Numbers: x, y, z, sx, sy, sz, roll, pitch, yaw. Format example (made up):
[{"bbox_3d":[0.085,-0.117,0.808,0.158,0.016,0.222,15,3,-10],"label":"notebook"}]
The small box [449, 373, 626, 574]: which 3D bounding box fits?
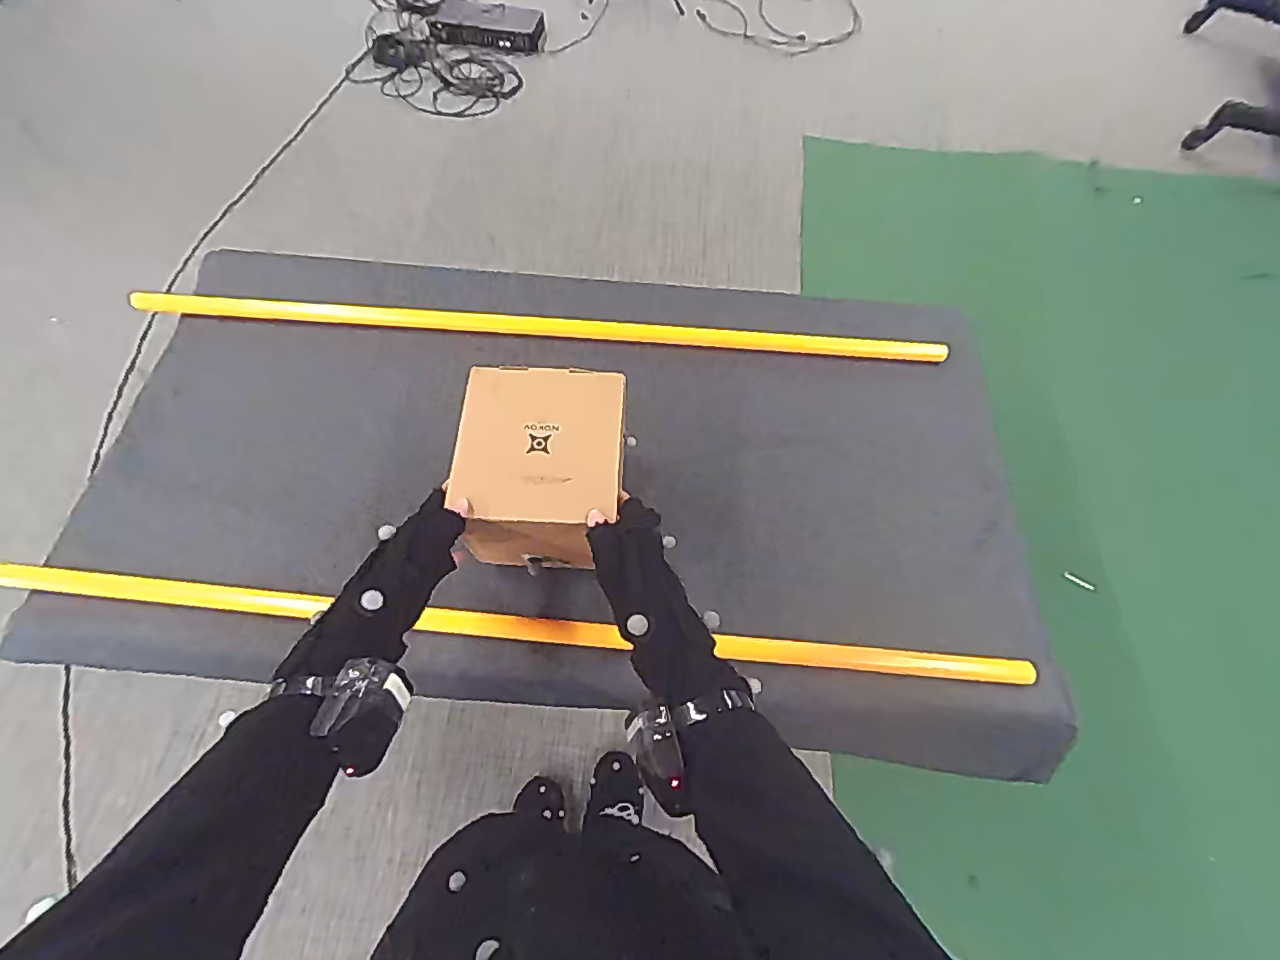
[{"bbox_3d":[-0.102,-0.001,0.623,0.168,0.176,0.179,1,66,0],"label":"small box"}]
